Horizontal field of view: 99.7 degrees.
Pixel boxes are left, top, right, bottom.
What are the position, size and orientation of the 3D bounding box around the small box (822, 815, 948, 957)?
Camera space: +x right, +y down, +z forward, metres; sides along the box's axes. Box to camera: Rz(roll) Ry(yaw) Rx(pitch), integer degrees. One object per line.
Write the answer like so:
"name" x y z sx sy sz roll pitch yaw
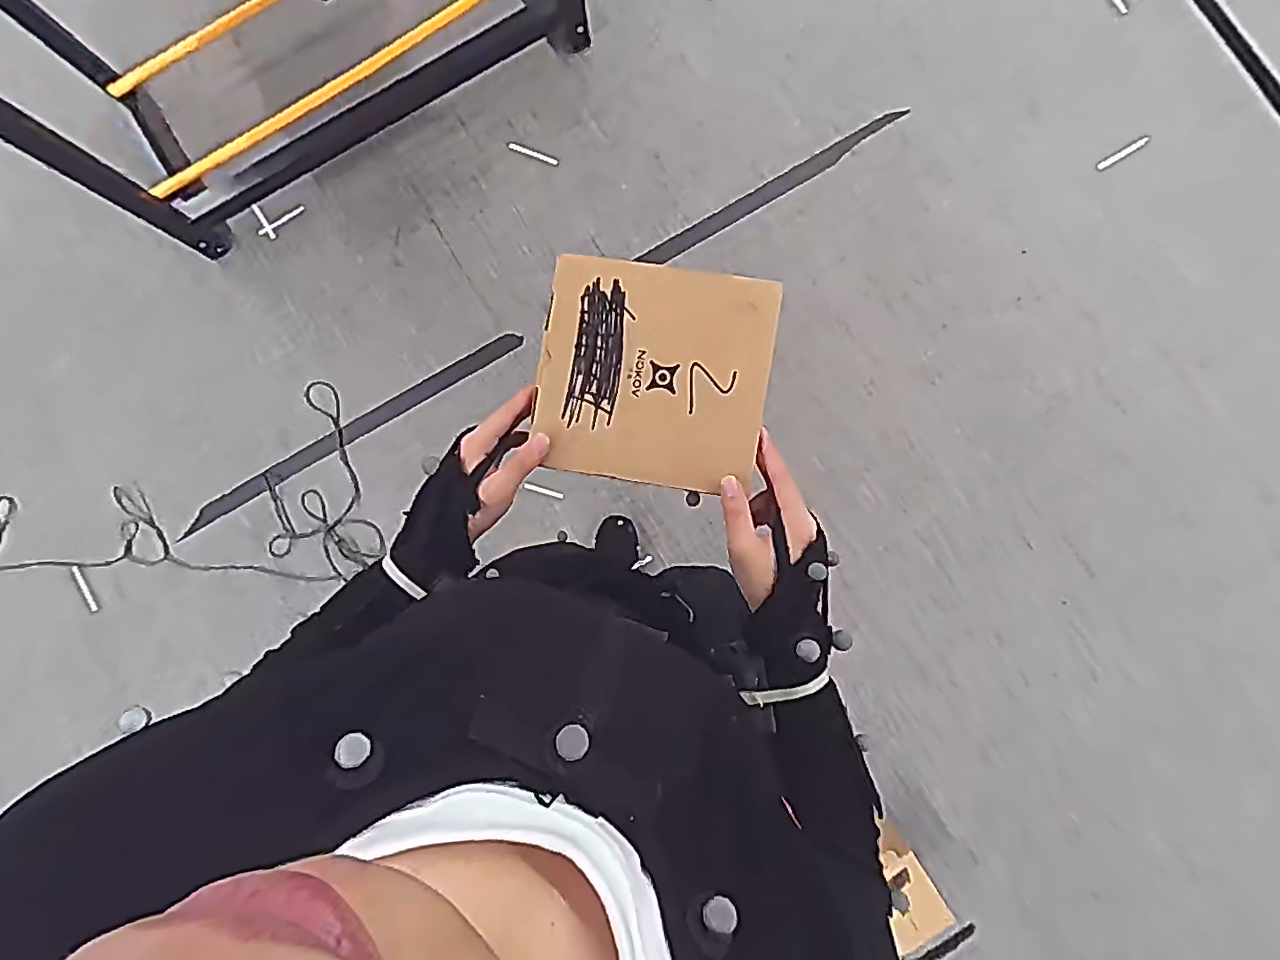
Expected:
"small box" 0.552 0.917 1.247 0.168 0.176 0.179 -33 88 -1
